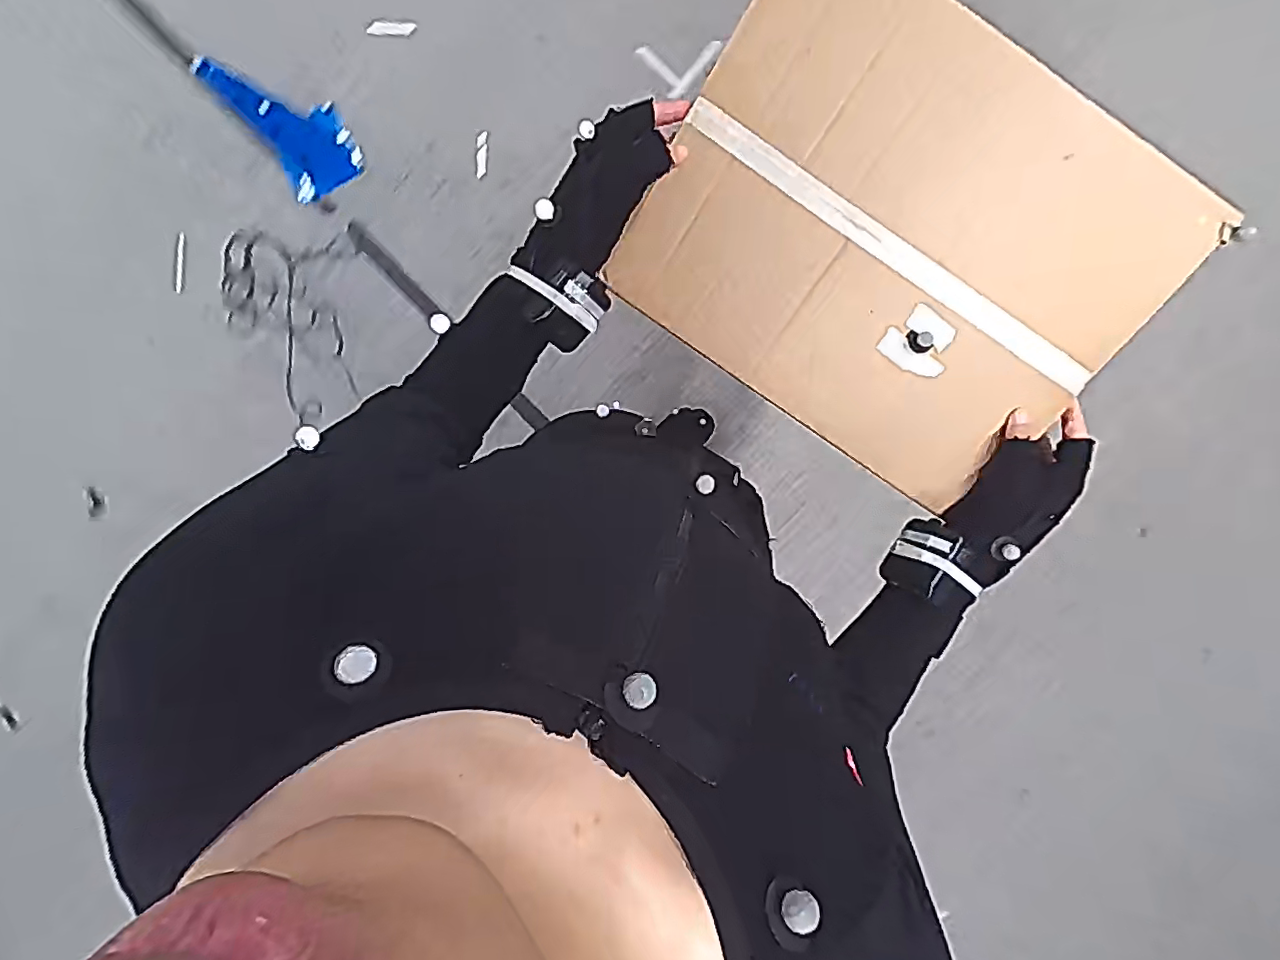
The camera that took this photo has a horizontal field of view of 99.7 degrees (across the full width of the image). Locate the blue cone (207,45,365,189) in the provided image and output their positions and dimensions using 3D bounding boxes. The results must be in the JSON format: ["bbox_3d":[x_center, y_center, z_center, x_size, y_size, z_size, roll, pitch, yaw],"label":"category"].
[{"bbox_3d":[-0.864,-0.888,1.300,0.193,0.380,0.192,-23,93,6],"label":"blue cone"}]
